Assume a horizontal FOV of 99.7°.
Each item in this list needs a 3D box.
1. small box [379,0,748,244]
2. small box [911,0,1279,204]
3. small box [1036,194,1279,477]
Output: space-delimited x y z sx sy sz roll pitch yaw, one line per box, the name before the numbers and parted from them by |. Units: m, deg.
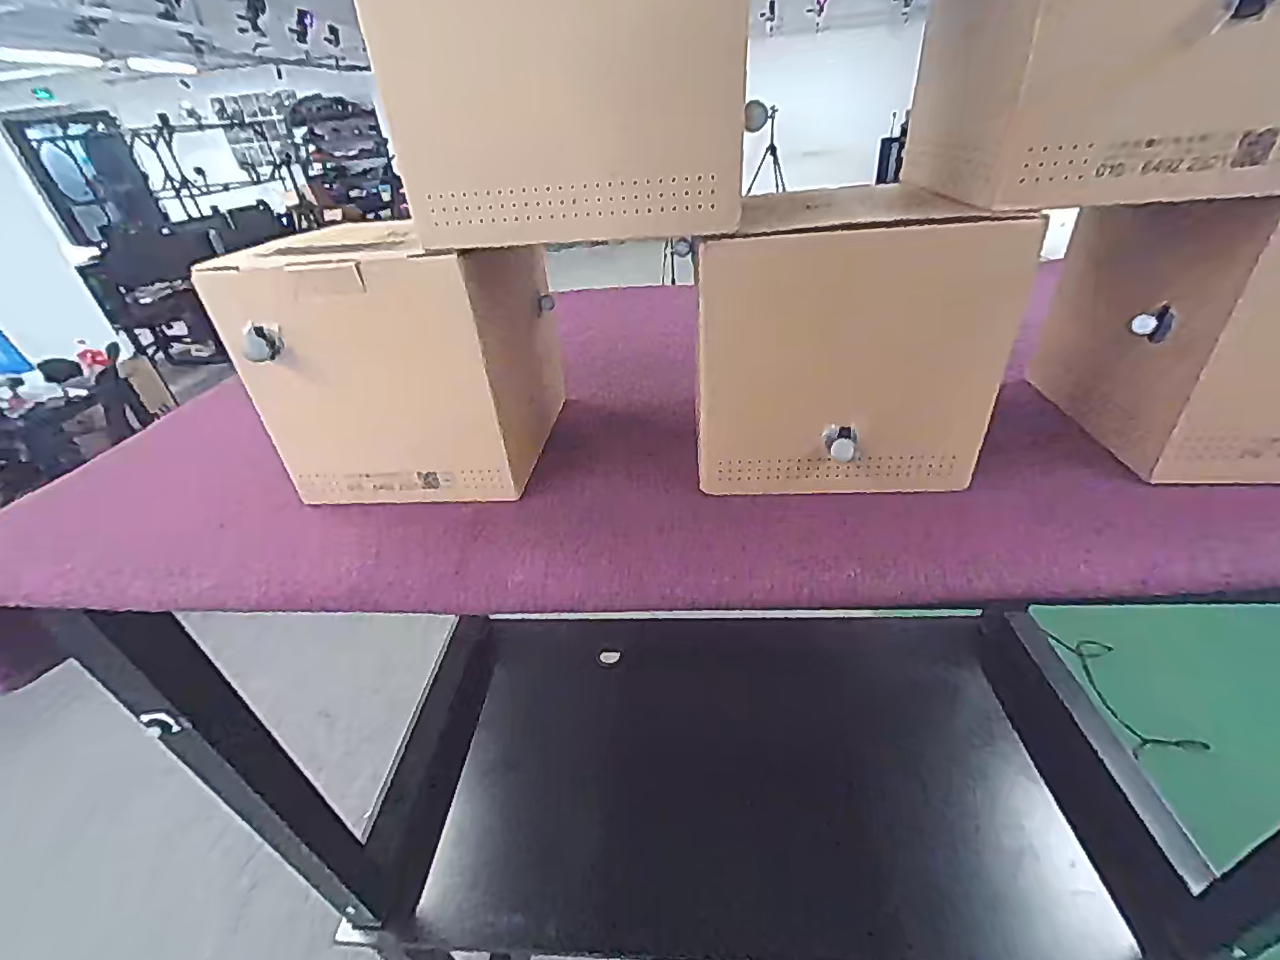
small box | -0.030 -0.238 0.307 0.179 0.176 0.168 1 33 7
small box | 0.262 -0.247 0.282 0.168 0.176 0.179 1 33 9
small box | 0.406 -0.110 0.353 0.168 0.176 0.179 1 33 9
